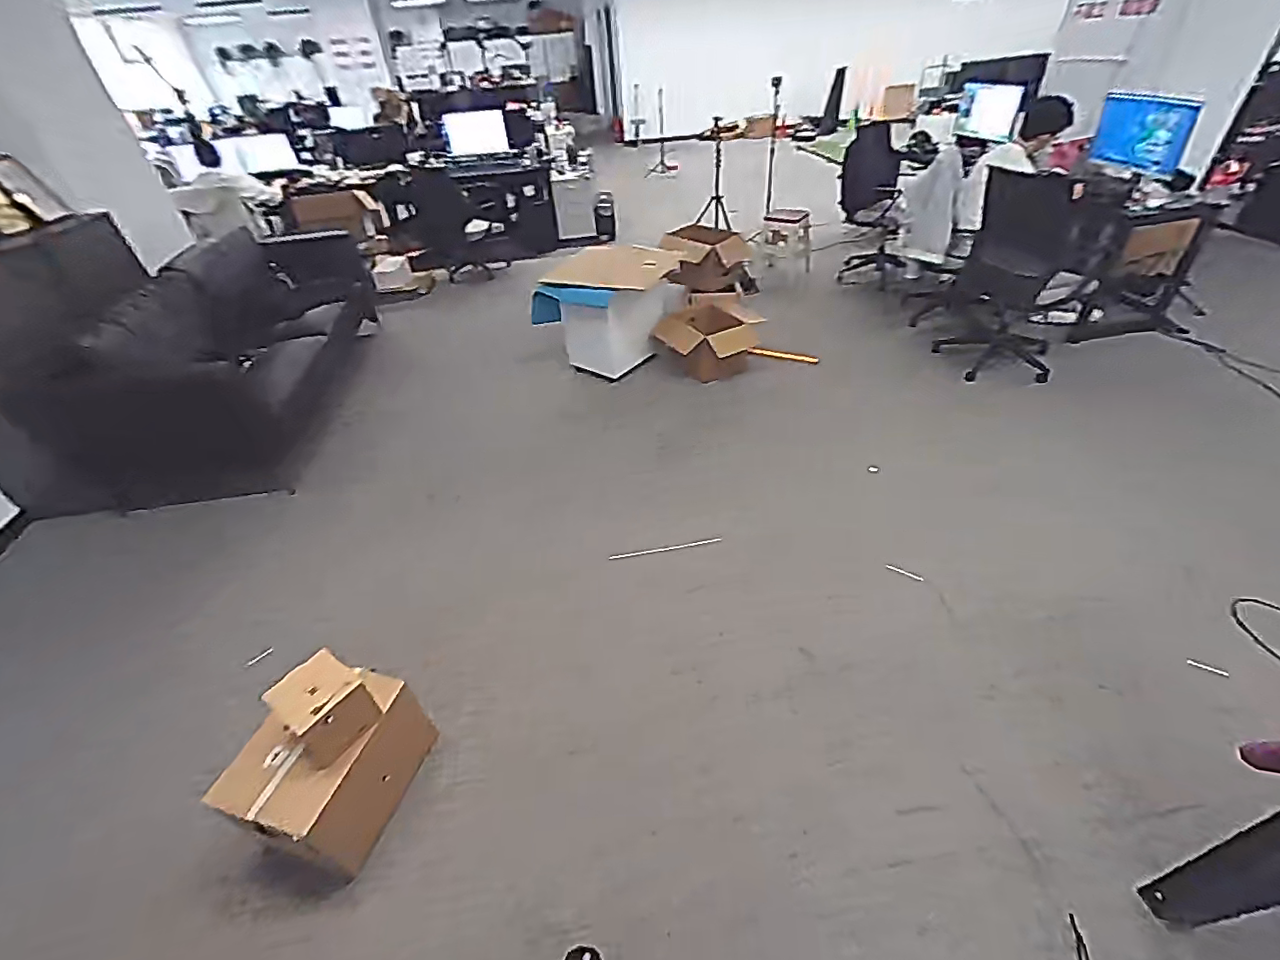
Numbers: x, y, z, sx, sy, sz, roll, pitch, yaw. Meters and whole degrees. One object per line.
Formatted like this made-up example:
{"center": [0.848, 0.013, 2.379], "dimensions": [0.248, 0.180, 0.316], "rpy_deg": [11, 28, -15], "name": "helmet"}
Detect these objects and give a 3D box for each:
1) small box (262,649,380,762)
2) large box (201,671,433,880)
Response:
{"center": [-0.797, 0.570, 1.363], "dimensions": [0.179, 0.176, 0.168], "rpy_deg": [23, 46, 28], "name": "small box"}
{"center": [-0.844, 0.787, 1.491], "dimensions": [0.320, 0.320, 0.408], "rpy_deg": [7, 41, 14], "name": "large box"}
